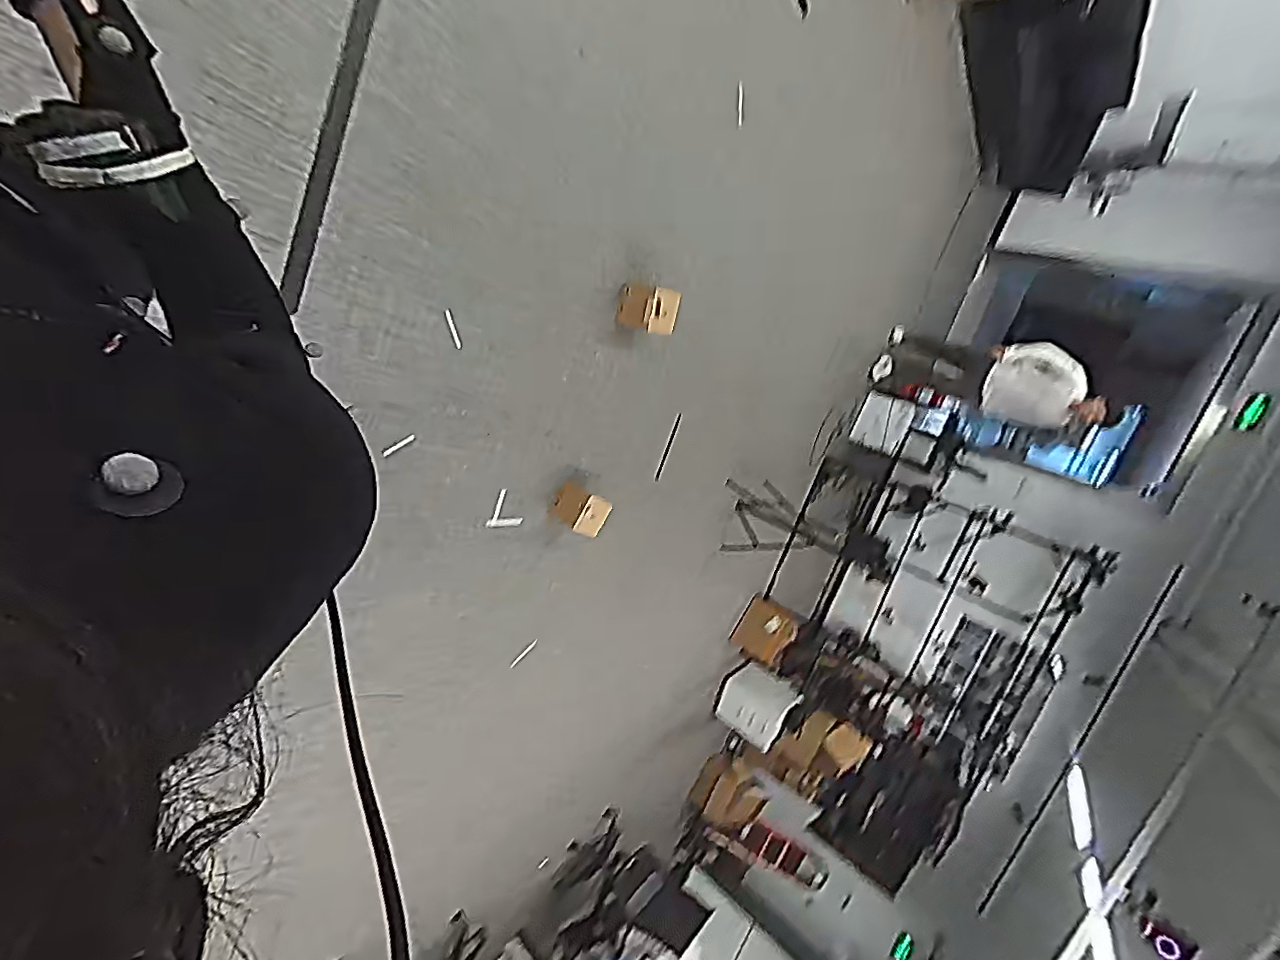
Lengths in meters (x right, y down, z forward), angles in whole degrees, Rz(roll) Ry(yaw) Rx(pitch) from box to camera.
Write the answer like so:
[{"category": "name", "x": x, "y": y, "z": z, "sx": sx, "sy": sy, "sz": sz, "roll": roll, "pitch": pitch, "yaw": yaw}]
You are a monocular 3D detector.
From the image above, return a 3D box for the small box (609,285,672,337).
[{"category": "small box", "x": -0.003, "y": -0.683, "z": 2.183, "sx": 0.179, "sy": 0.176, "sz": 0.168, "roll": -11, "pitch": 121, "yaw": -51}]

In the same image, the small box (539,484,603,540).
[{"category": "small box", "x": -0.299, "y": 0.135, "z": 2.343, "sx": 0.168, "sy": 0.176, "sz": 0.179, "roll": -61, "pitch": 147, "yaw": -4}]
